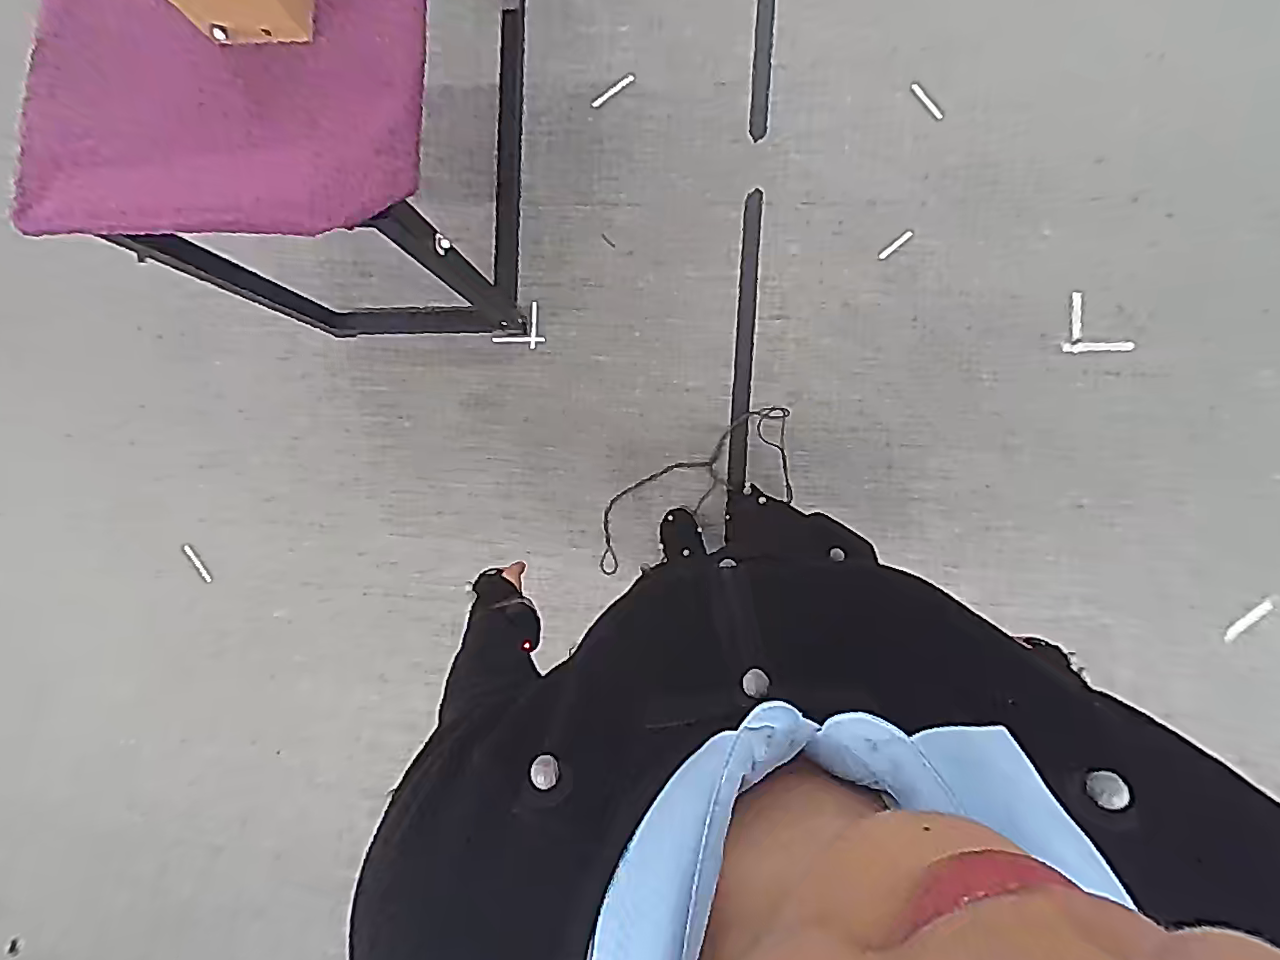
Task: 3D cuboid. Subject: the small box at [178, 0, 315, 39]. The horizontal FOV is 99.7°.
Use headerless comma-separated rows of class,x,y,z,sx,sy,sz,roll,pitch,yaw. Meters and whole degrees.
small box,-0.591,-0.775,0.772,0.168,0.176,0.179,2,89,5
